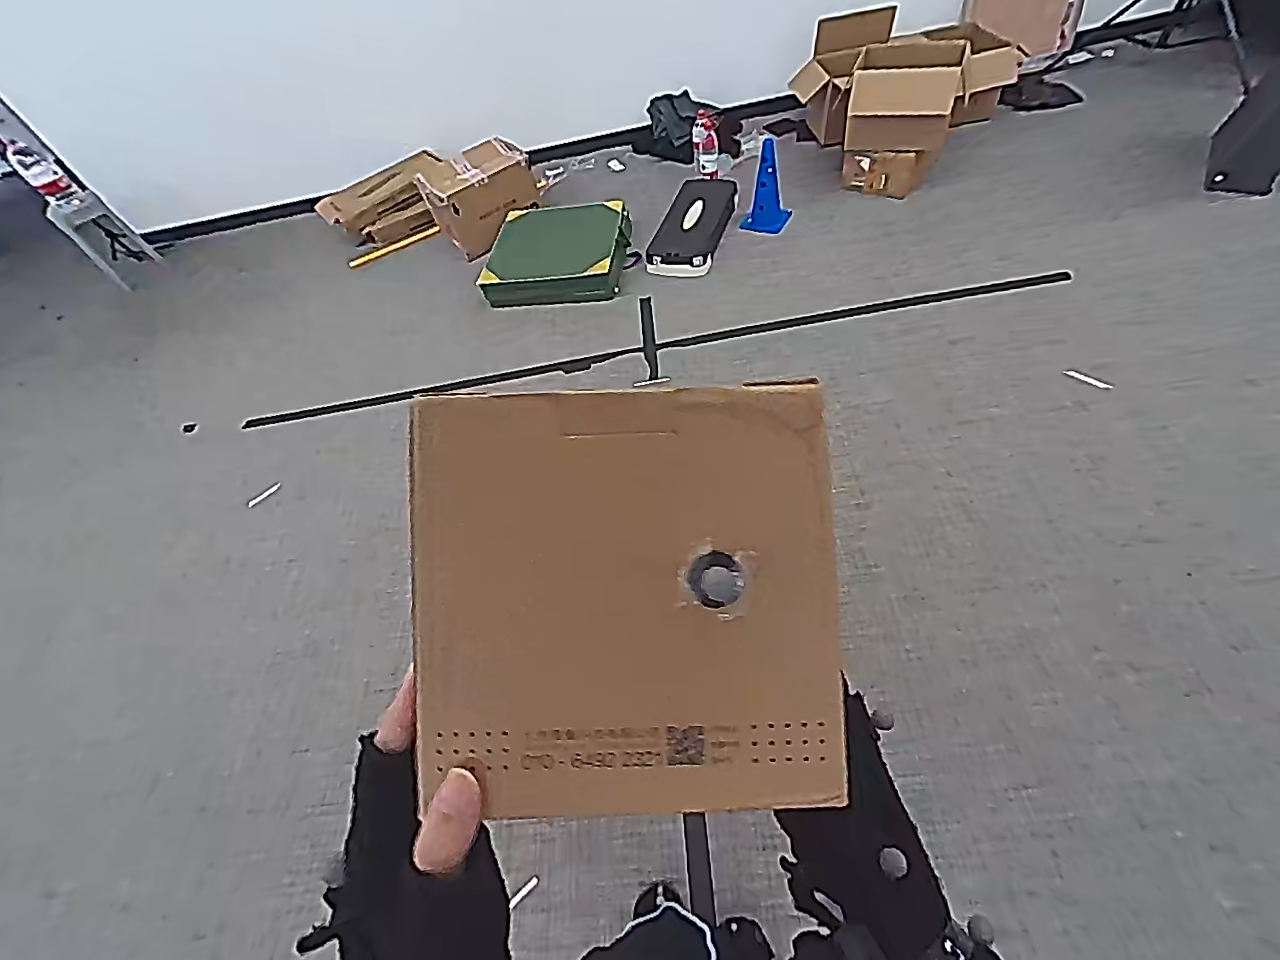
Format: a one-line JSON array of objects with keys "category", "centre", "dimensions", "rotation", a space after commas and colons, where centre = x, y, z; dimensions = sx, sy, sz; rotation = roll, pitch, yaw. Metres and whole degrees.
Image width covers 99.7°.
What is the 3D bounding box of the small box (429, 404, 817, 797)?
[{"category": "small box", "centre": [-0.002, 0.057, 0.312], "dimensions": [0.168, 0.179, 0.176], "rotation": [-2, 88, 3]}]
